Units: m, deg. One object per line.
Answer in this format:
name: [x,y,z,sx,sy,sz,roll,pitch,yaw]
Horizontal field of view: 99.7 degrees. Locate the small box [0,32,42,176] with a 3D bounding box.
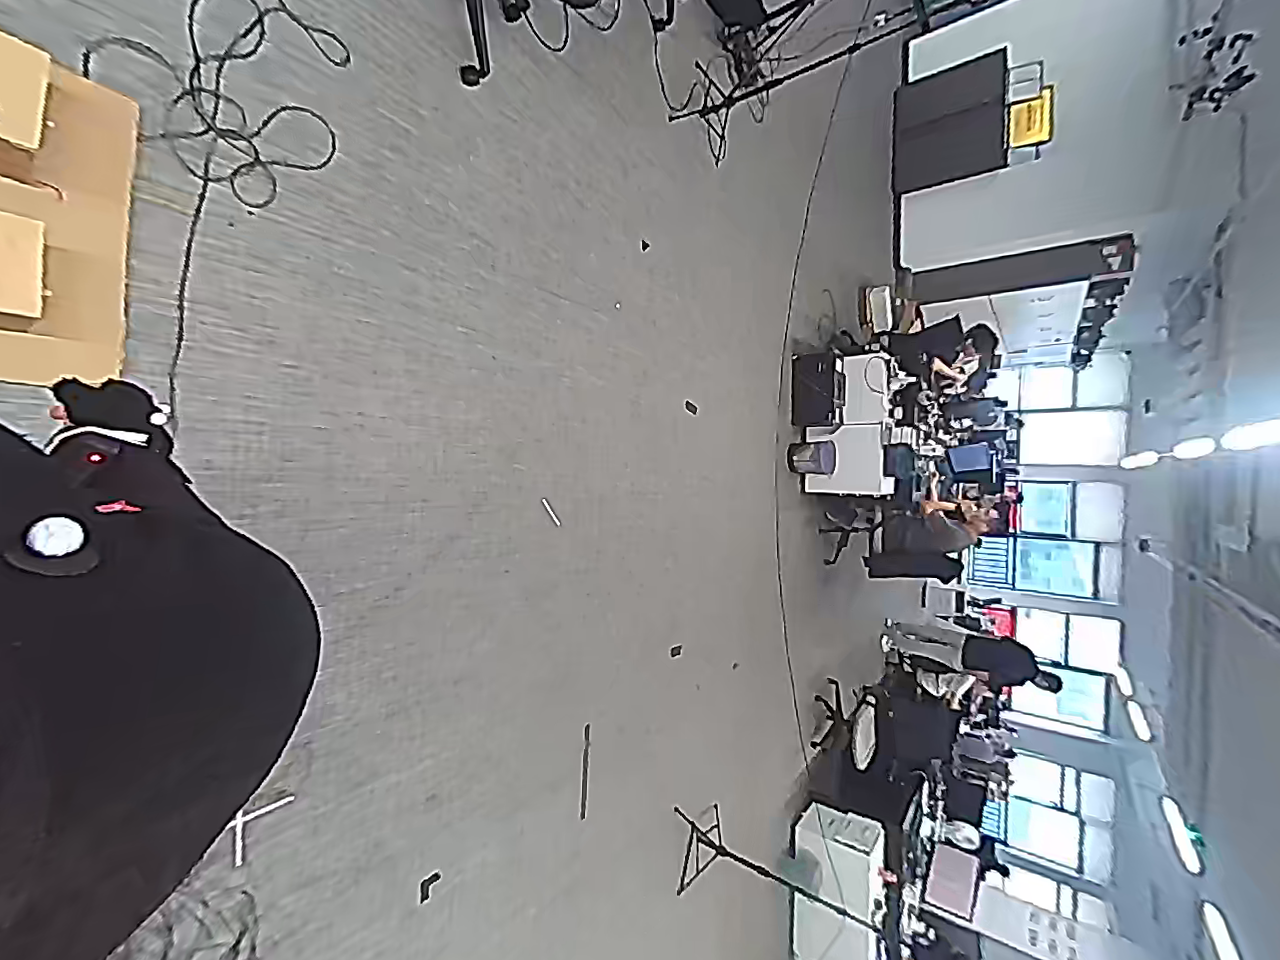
small box: [-1.117,-0.638,0.885,0.168,0.176,0.179,8,85,-51]
